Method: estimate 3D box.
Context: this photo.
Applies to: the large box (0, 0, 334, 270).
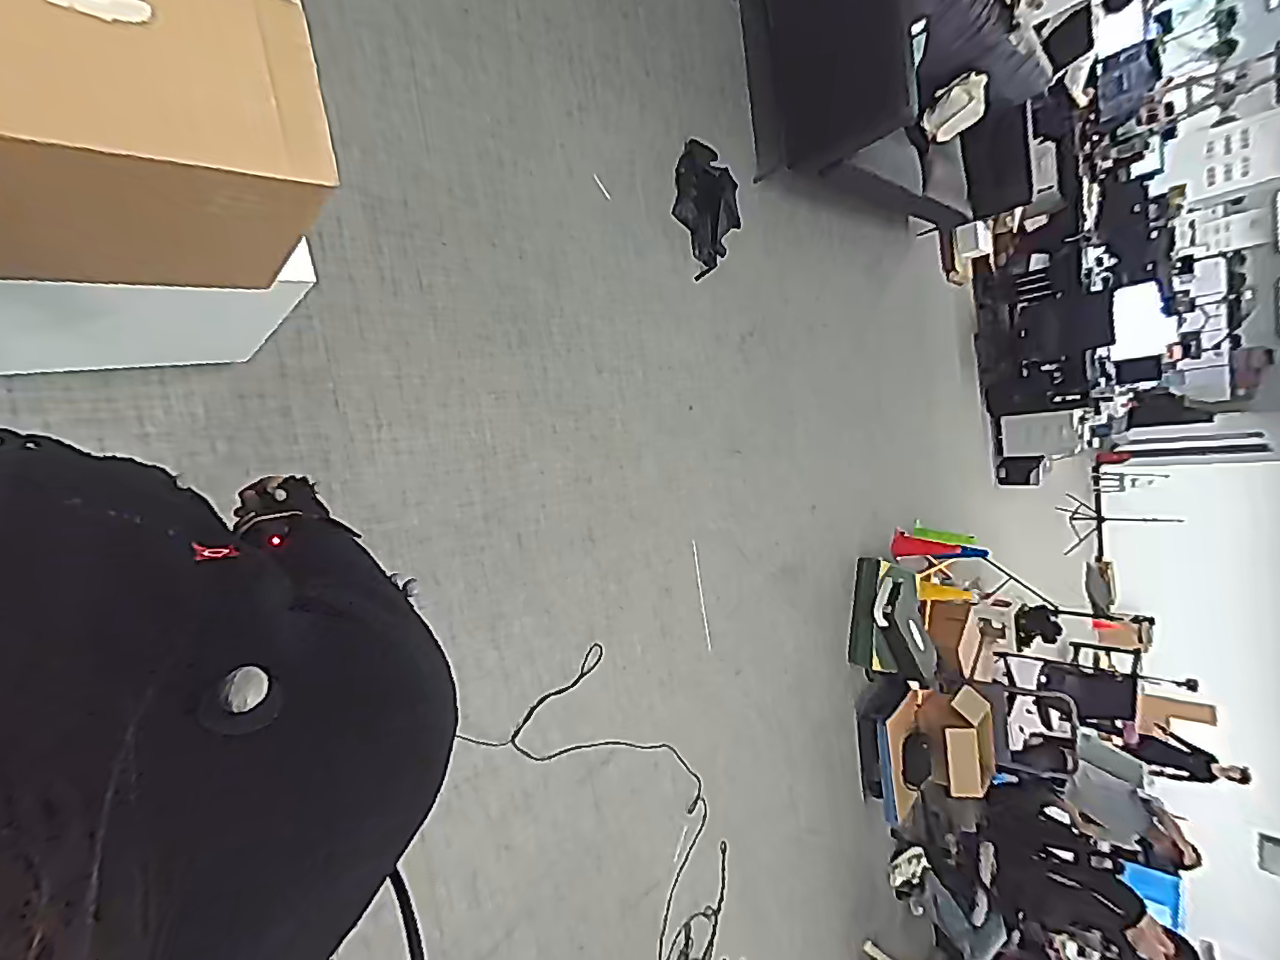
[{"bbox_3d":[-0.540,-0.375,0.430,0.408,0.320,0.320,-17,101,-45],"label":"large box"}]
